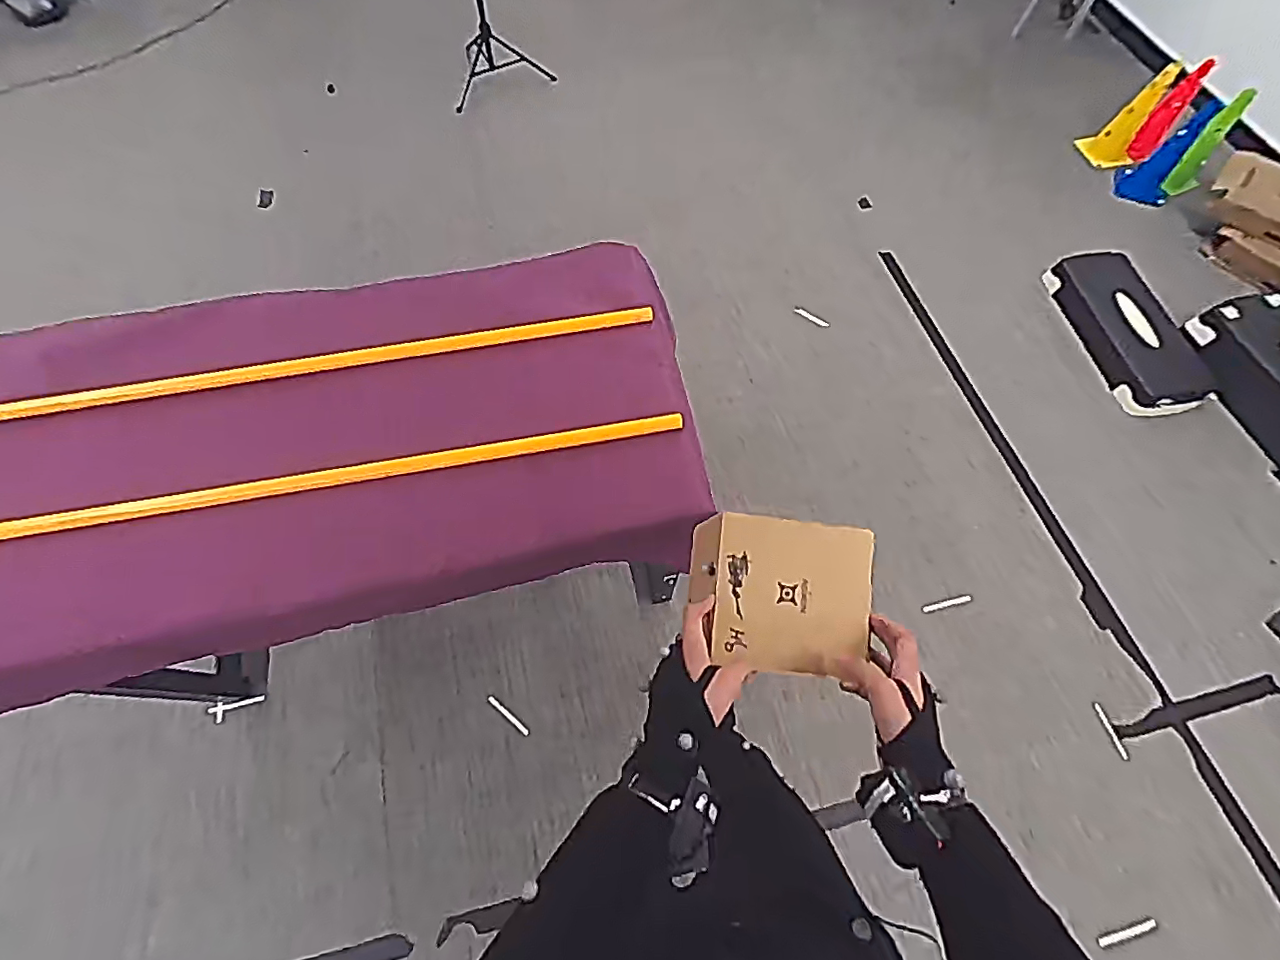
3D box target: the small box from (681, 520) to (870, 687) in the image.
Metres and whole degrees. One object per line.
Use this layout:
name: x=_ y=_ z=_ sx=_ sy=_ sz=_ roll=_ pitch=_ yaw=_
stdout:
small box: x=0.158 y=0.147 z=0.671 sx=0.179 sy=0.176 sz=0.168 roll=7 pitch=79 yaw=-4
